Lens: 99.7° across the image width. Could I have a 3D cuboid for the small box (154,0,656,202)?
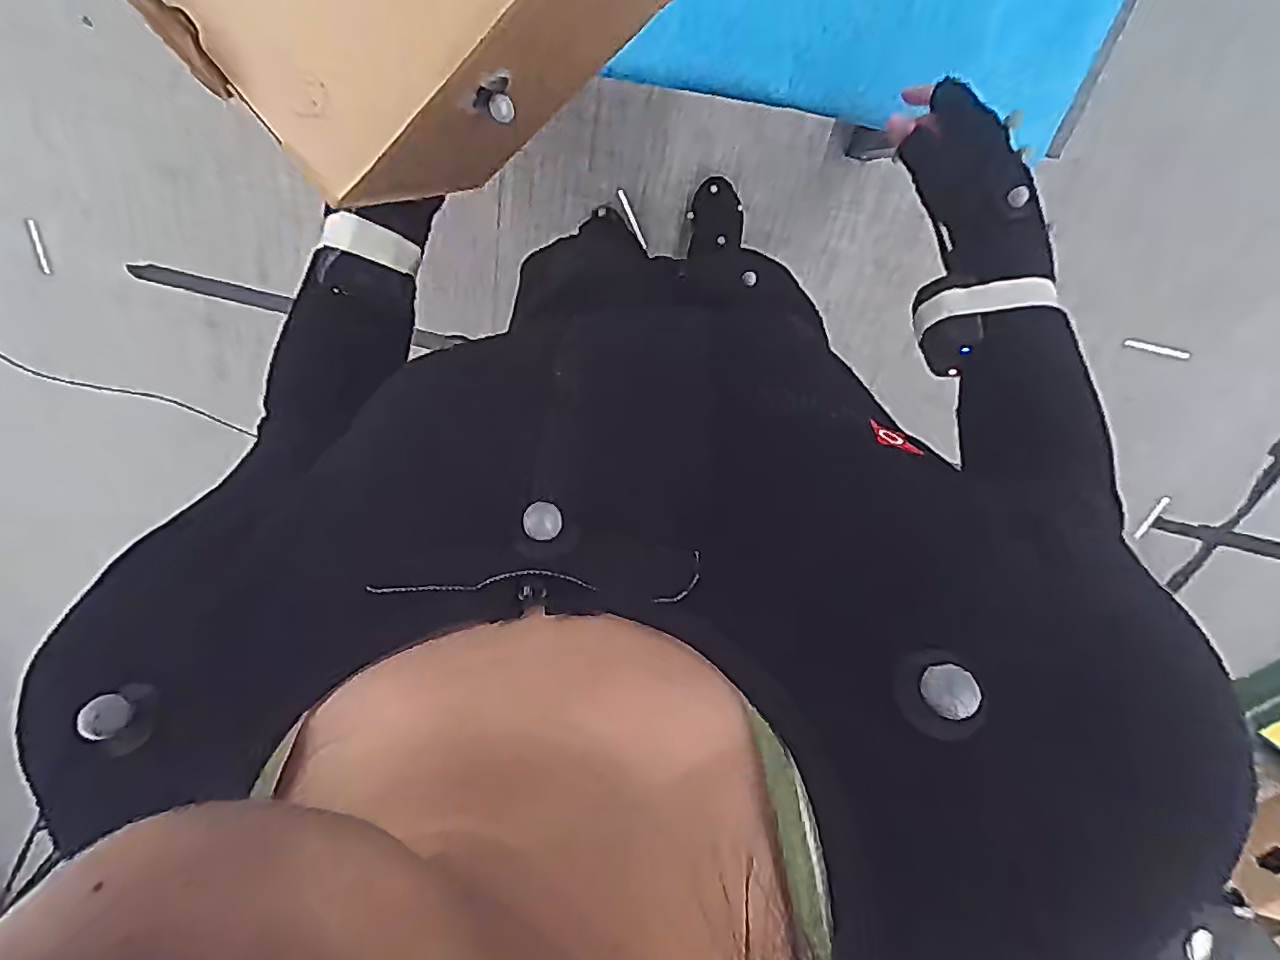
[{"bbox_3d":[-0.109,-0.264,0.256,0.179,0.176,0.168,-27,113,26],"label":"small box"}]
